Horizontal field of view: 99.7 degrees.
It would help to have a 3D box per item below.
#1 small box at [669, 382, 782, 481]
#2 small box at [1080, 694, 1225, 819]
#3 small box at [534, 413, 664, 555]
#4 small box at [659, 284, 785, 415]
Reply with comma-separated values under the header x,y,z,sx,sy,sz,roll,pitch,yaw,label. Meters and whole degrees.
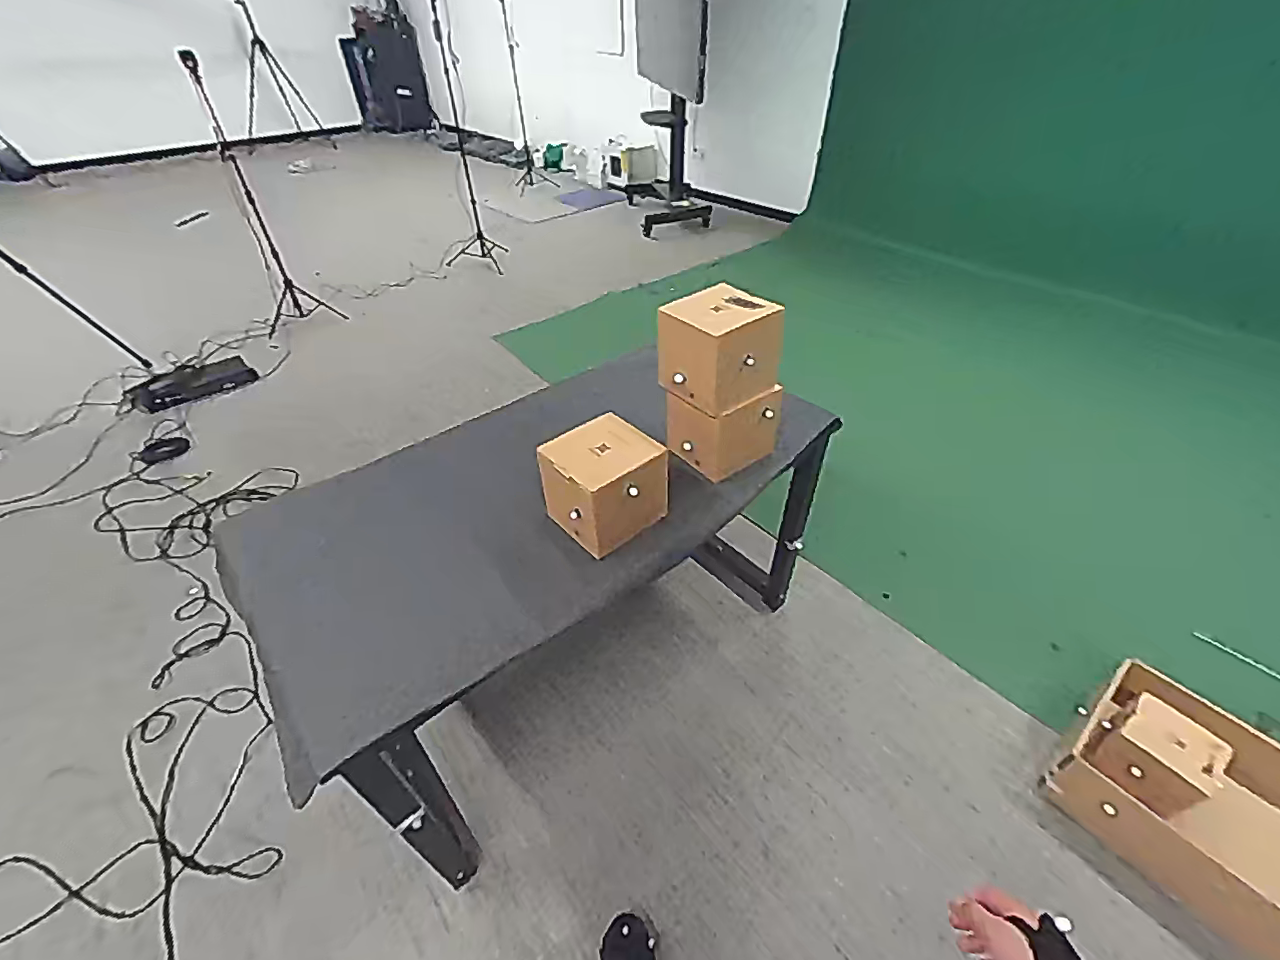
x,y,z,sx,sy,sz,roll,pitch,yaw,label
0.172,-0.129,1.153,0.179,0.176,0.168,-27,46,-26,small box
1.209,0.661,1.289,0.168,0.176,0.179,-29,49,-27,small box
-0.070,0.008,1.005,0.179,0.176,0.168,-30,49,-30,small box
0.150,-0.253,1.047,0.179,0.176,0.168,-28,47,-26,small box
